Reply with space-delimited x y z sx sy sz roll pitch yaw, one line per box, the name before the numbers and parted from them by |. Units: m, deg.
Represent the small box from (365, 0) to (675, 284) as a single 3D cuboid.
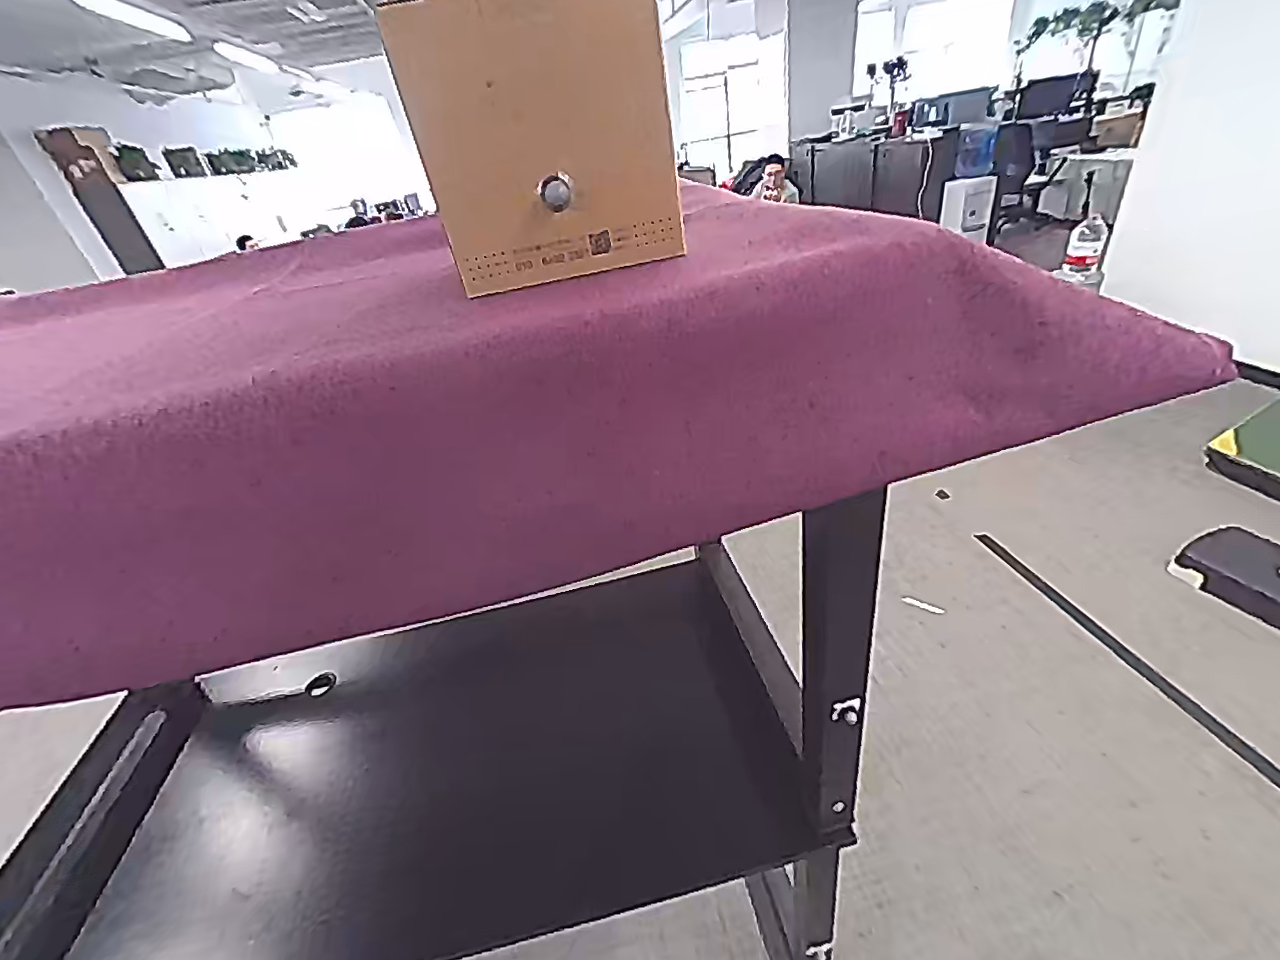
small box | -0.074 -0.261 0.418 0.168 0.176 0.179 -12 32 -1
